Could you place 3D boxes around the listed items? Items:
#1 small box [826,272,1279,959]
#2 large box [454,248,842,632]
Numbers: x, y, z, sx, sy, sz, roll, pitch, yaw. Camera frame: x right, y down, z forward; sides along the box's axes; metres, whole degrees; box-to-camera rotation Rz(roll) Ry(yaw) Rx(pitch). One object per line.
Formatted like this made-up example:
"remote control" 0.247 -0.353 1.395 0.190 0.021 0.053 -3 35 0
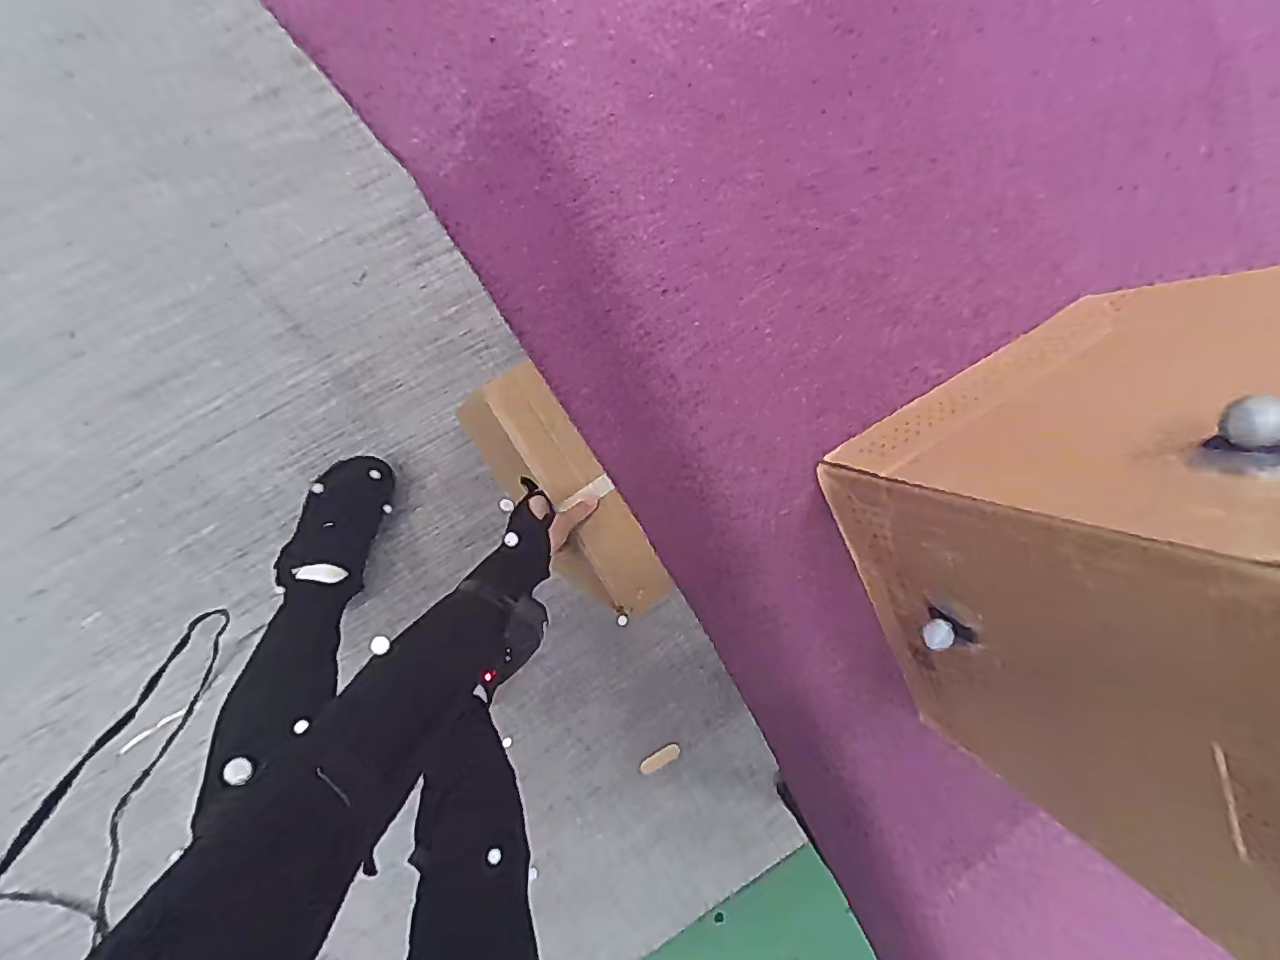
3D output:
"small box" 0.208 0.029 0.202 0.179 0.176 0.168 -30 105 -7
"large box" -0.001 -0.064 0.786 0.408 0.320 0.320 -35 104 -19
